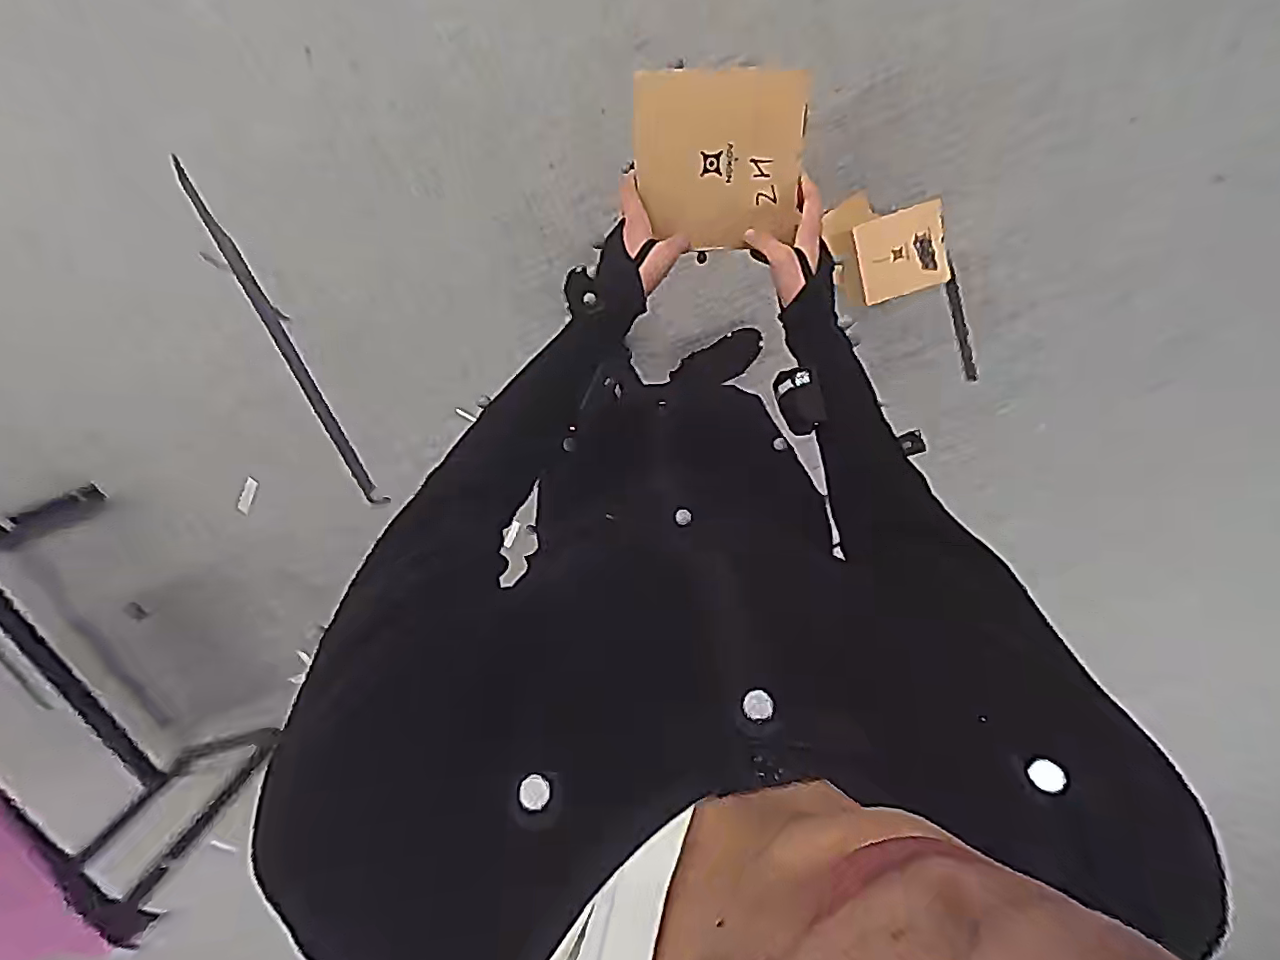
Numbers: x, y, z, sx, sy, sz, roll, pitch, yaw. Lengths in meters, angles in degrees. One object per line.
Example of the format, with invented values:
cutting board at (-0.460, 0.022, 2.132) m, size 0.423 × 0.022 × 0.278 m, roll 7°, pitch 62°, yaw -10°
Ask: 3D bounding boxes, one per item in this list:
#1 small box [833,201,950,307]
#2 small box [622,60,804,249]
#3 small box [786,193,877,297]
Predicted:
small box at (0.546, -0.491, 1.189) m, size 0.179 × 0.176 × 0.168 m, roll -15°, pitch 108°, yaw 10°
small box at (0.071, -0.357, 0.619) m, size 0.179 × 0.176 × 0.168 m, roll -3°, pitch 116°, yaw -1°
small box at (0.484, -0.575, 1.337) m, size 0.179 × 0.176 × 0.168 m, roll -29°, pitch 105°, yaw 14°
